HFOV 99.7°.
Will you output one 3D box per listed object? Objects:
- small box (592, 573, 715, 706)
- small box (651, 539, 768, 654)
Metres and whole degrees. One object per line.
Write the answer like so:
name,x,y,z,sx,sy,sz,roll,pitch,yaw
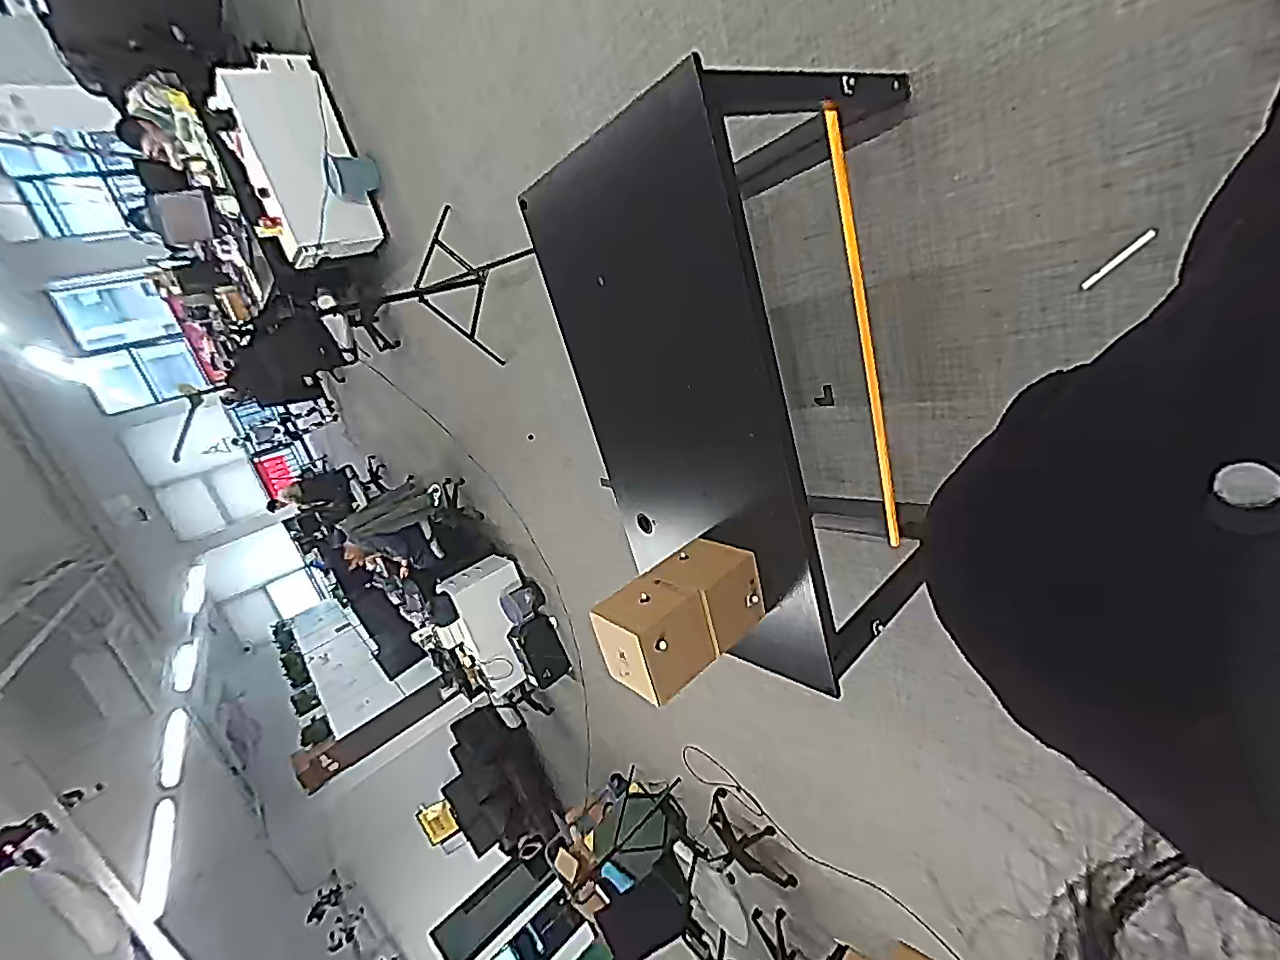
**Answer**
small box,0.032,0.319,1.123,0.168,0.176,0.179,10,123,51
small box,0.156,0.248,1.205,0.179,0.176,0.168,9,122,50
